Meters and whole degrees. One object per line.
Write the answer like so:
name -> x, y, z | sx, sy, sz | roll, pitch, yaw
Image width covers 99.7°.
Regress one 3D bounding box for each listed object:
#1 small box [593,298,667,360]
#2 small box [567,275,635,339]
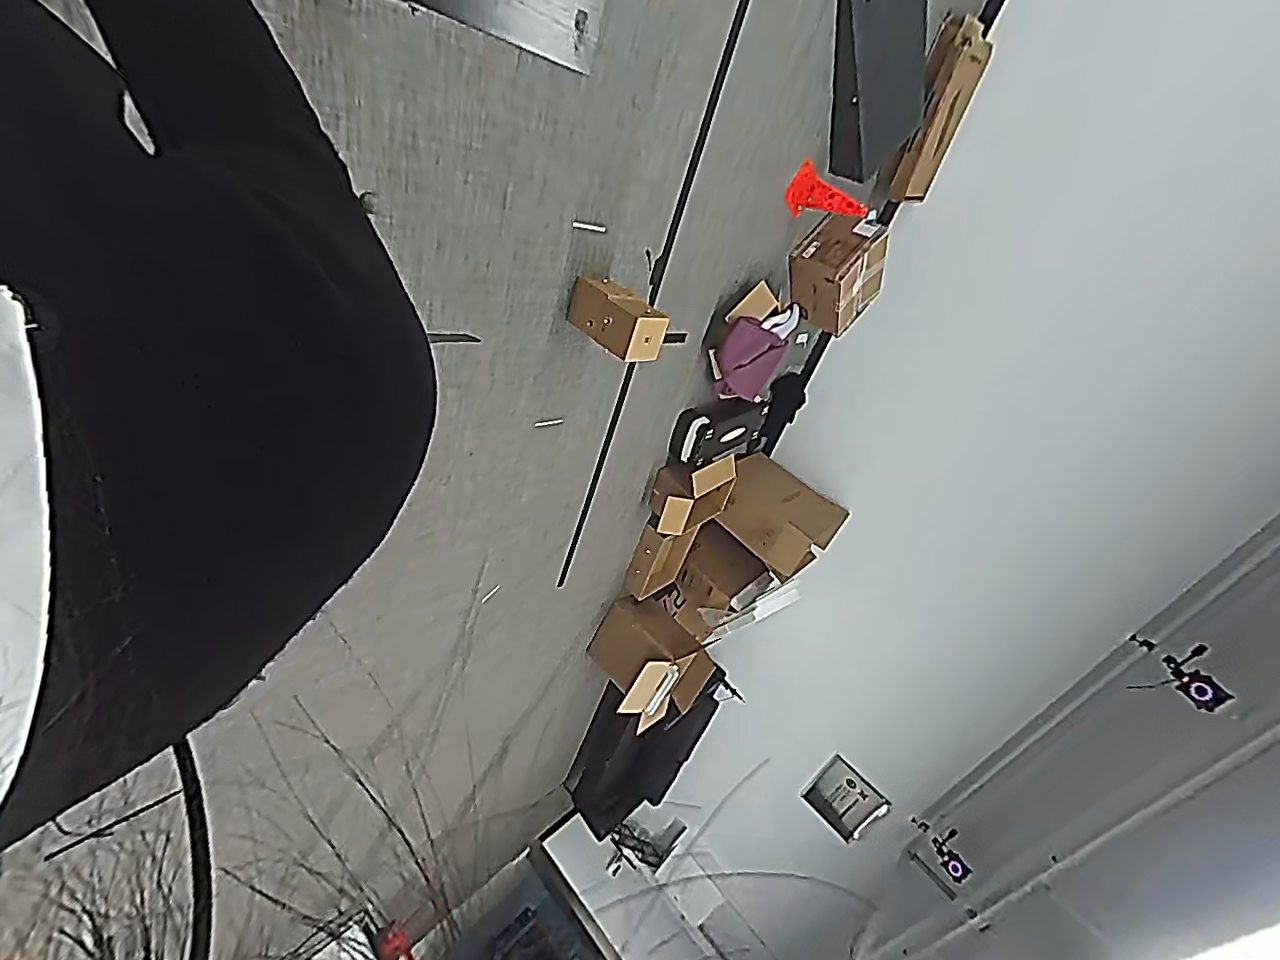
small box -> -0.040, -0.546, 1.948 | 0.179, 0.176, 0.168 | -17, 136, -45
small box -> -0.152, -0.642, 2.016 | 0.168, 0.176, 0.179 | -17, 137, -47
